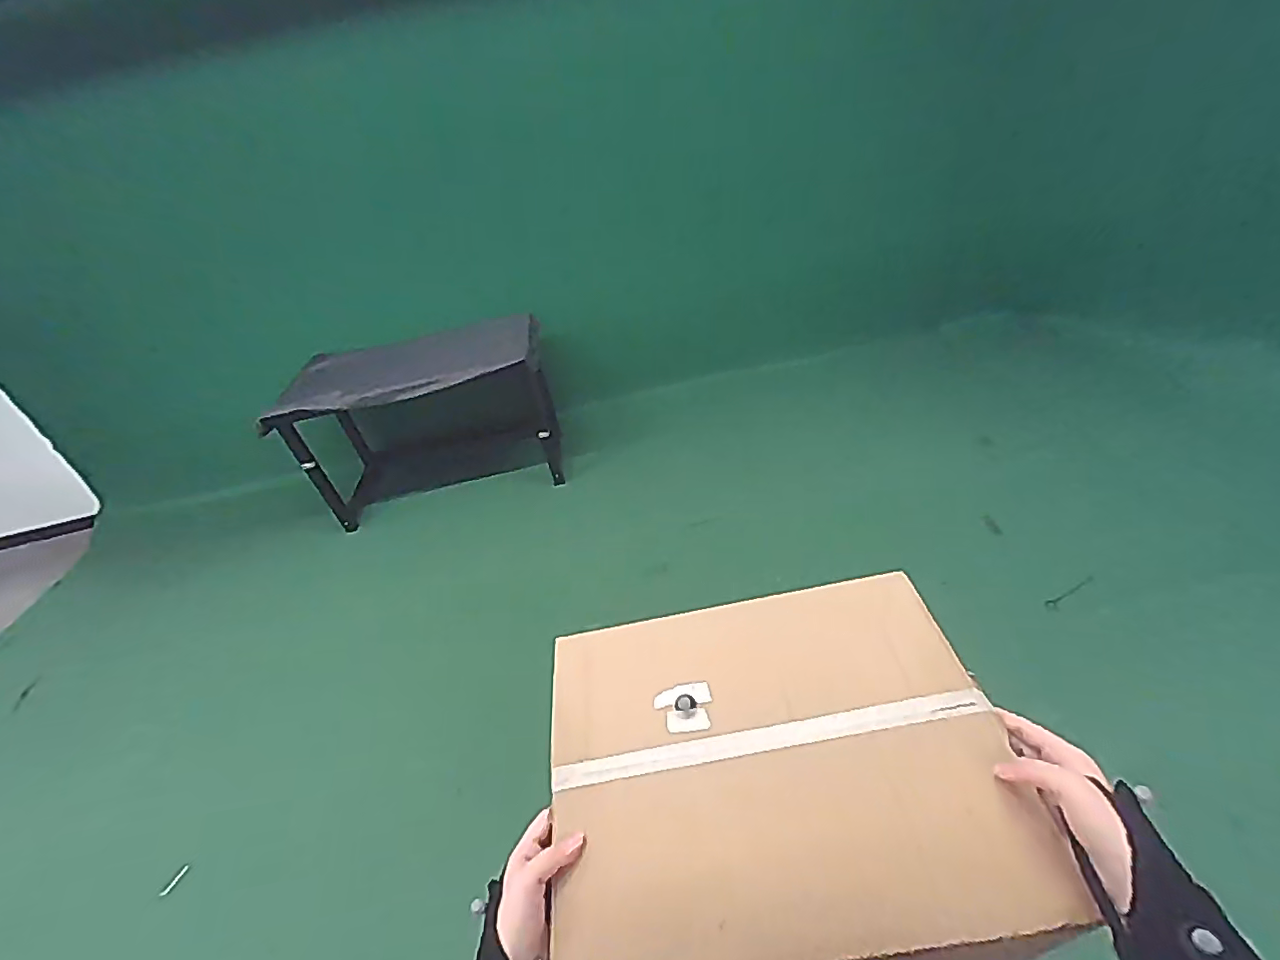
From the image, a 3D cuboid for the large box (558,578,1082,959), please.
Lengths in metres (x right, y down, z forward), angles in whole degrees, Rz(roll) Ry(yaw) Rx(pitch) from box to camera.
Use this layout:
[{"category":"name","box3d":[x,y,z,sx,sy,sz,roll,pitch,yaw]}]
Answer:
[{"category":"large box","box3d":[0.147,0.361,0.609,0.408,0.320,0.320,-13,41,4]}]
